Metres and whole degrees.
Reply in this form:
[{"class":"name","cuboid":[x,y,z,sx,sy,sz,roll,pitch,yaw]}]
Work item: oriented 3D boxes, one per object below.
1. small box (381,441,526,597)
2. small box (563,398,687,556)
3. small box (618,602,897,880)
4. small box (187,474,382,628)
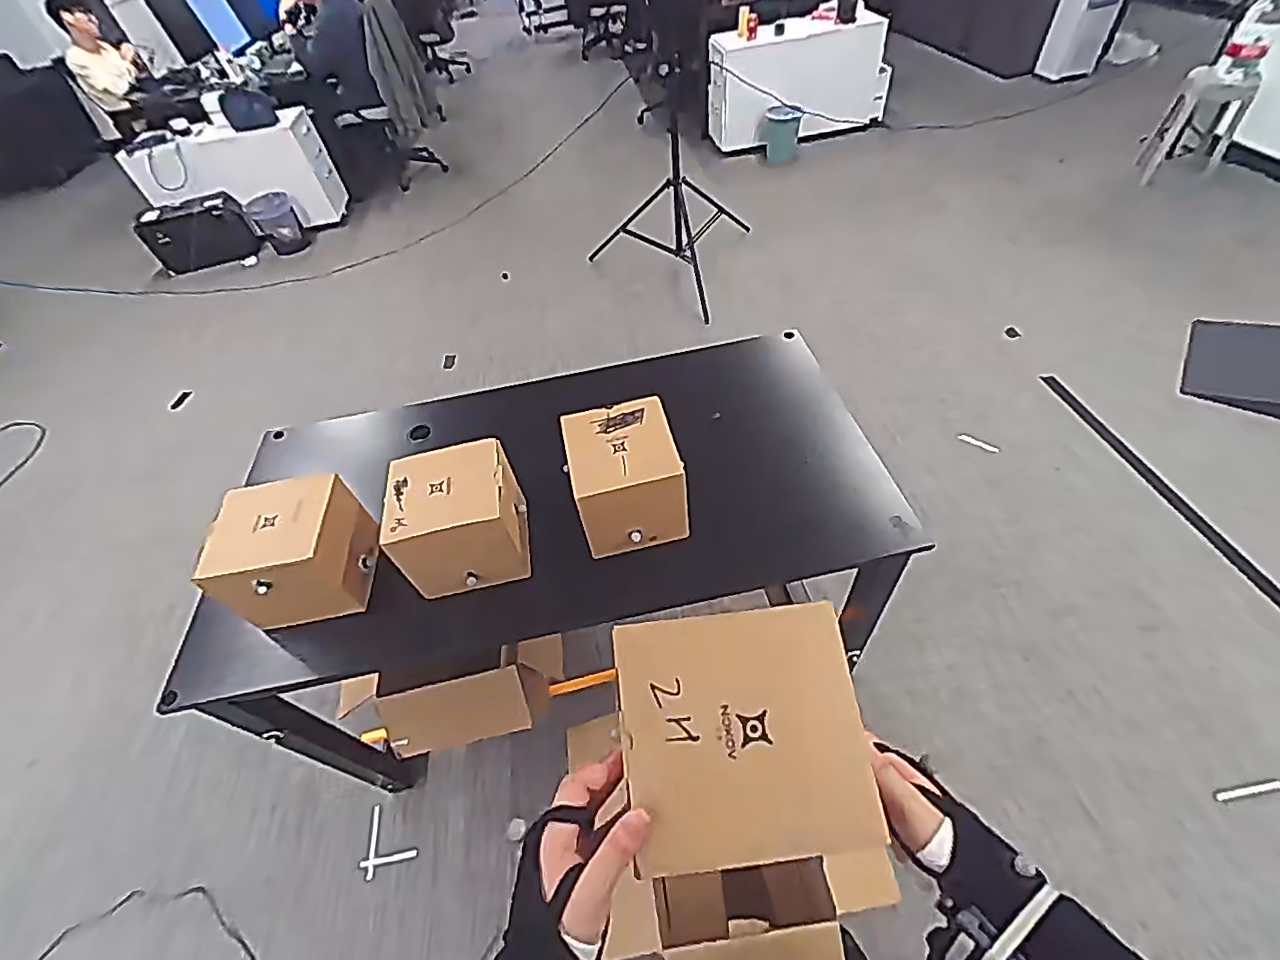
[{"class":"small box","cuboid":[-0.285,0.065,0.866,0.179,0.176,0.168,-12,49,-4]},{"class":"small box","cuboid":[-0.023,-0.003,0.887,0.168,0.176,0.179,-13,50,-3]},{"class":"small box","cuboid":[0.078,0.205,0.456,0.179,0.176,0.168,-7,68,-1]},{"class":"small box","cuboid":[-0.543,0.117,0.857,0.179,0.176,0.168,-10,50,-2]}]
